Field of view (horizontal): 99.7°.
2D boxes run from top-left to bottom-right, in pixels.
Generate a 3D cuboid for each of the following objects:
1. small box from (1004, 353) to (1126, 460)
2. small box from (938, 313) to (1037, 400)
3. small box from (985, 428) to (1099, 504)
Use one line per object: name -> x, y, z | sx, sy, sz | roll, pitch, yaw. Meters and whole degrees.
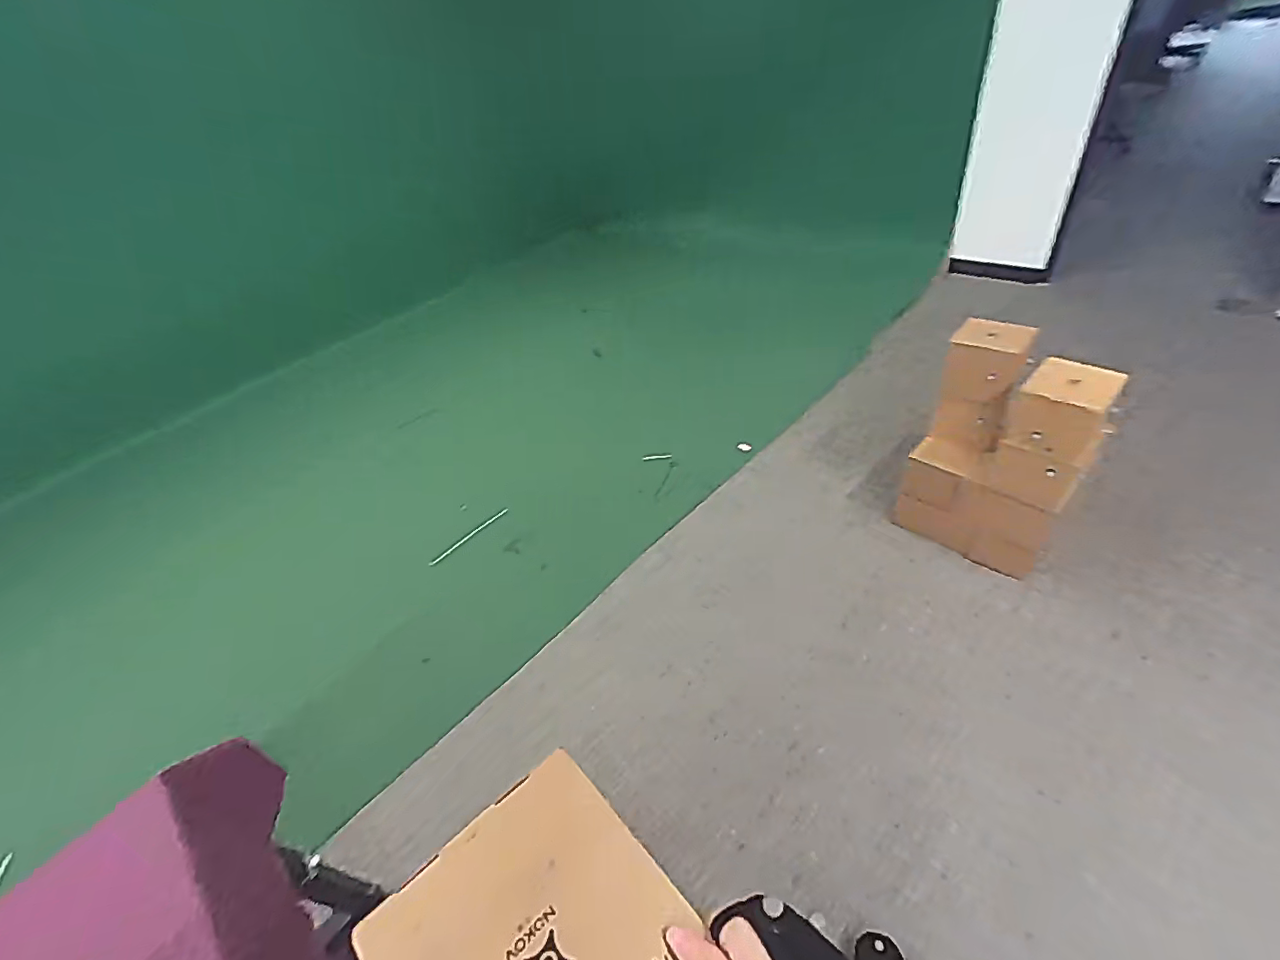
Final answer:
small box -> 1.040, -0.182, 1.336 | 0.179, 0.176, 0.168 | -39, 49, -24
small box -> 0.980, -0.348, 1.536 | 0.179, 0.176, 0.168 | 26, 53, 37
small box -> 1.065, -0.062, 1.444 | 0.168, 0.176, 0.179 | -38, 48, -25
